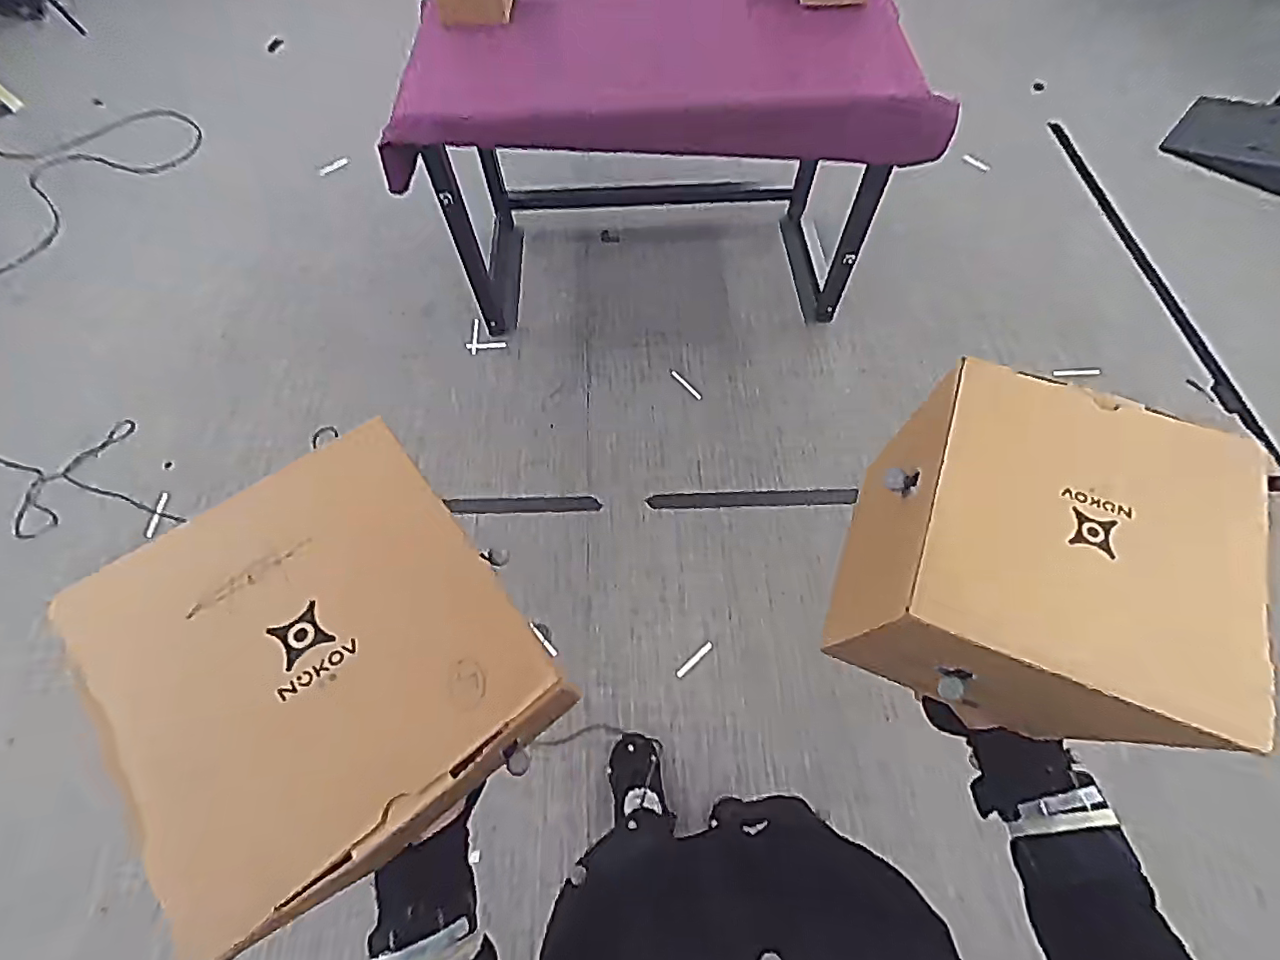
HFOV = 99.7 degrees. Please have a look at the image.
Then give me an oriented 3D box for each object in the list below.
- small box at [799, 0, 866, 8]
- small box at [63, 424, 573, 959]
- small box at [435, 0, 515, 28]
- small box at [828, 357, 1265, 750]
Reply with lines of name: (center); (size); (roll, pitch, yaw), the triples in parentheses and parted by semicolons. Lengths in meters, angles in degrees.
small box: (0.496, -1.324, 1.358); (0.179, 0.176, 0.168); (-1, 64, 0)
small box: (-0.152, 0.107, 0.319); (0.168, 0.176, 0.179); (-35, 72, -19)
small box: (-0.425, -1.271, 1.351); (0.179, 0.176, 0.168); (1, 65, 0)
small box: (0.242, 0.056, 0.363); (0.168, 0.176, 0.179); (20, 68, 10)
